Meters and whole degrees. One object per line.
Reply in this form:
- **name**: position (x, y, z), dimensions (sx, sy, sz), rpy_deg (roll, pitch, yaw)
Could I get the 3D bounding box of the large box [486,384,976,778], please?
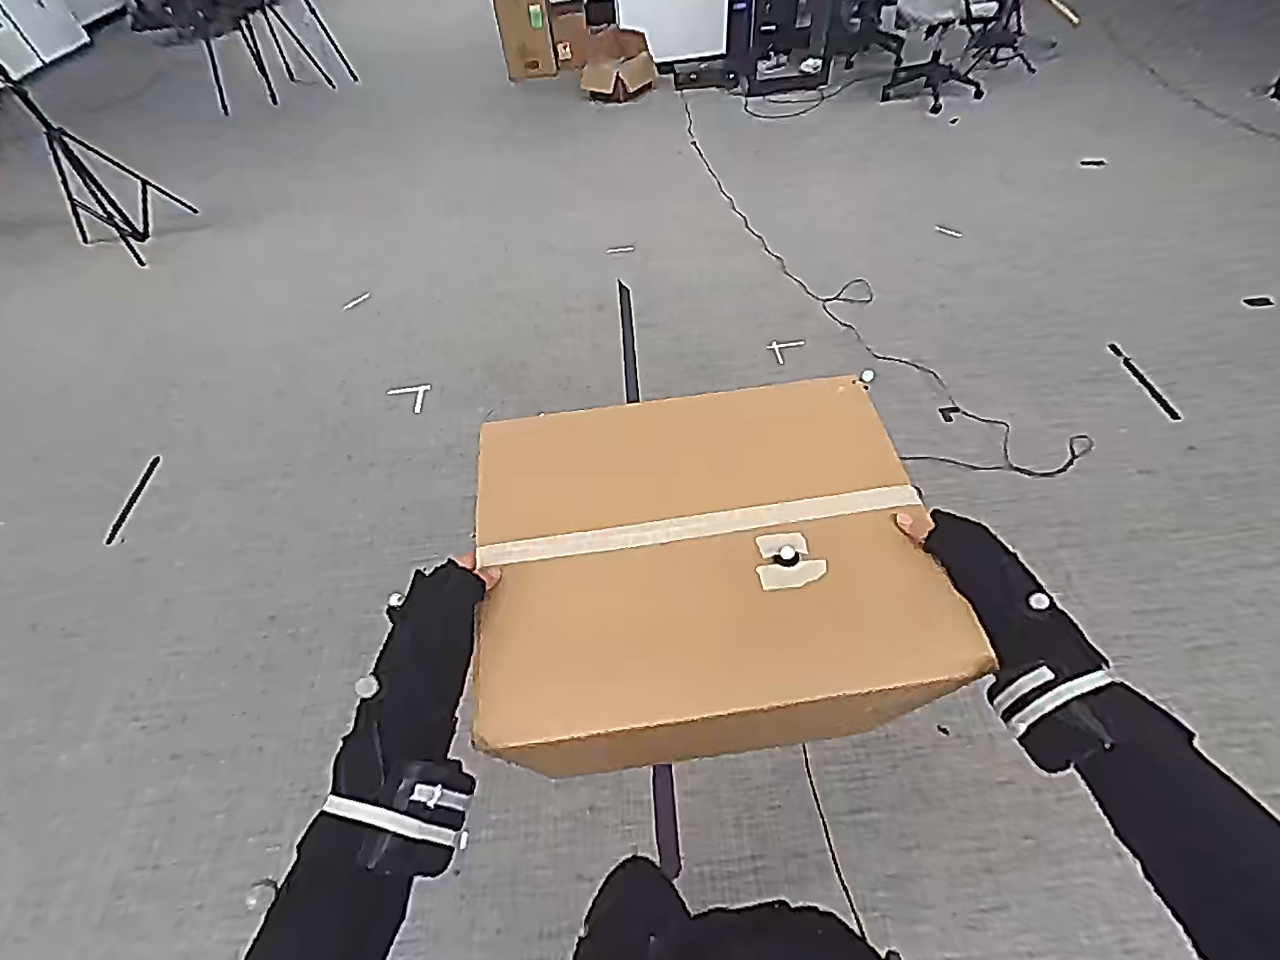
- **large box**: position (0.060, 0.130, 0.628), dimensions (0.408, 0.320, 0.320), rpy_deg (-8, 57, -2)
